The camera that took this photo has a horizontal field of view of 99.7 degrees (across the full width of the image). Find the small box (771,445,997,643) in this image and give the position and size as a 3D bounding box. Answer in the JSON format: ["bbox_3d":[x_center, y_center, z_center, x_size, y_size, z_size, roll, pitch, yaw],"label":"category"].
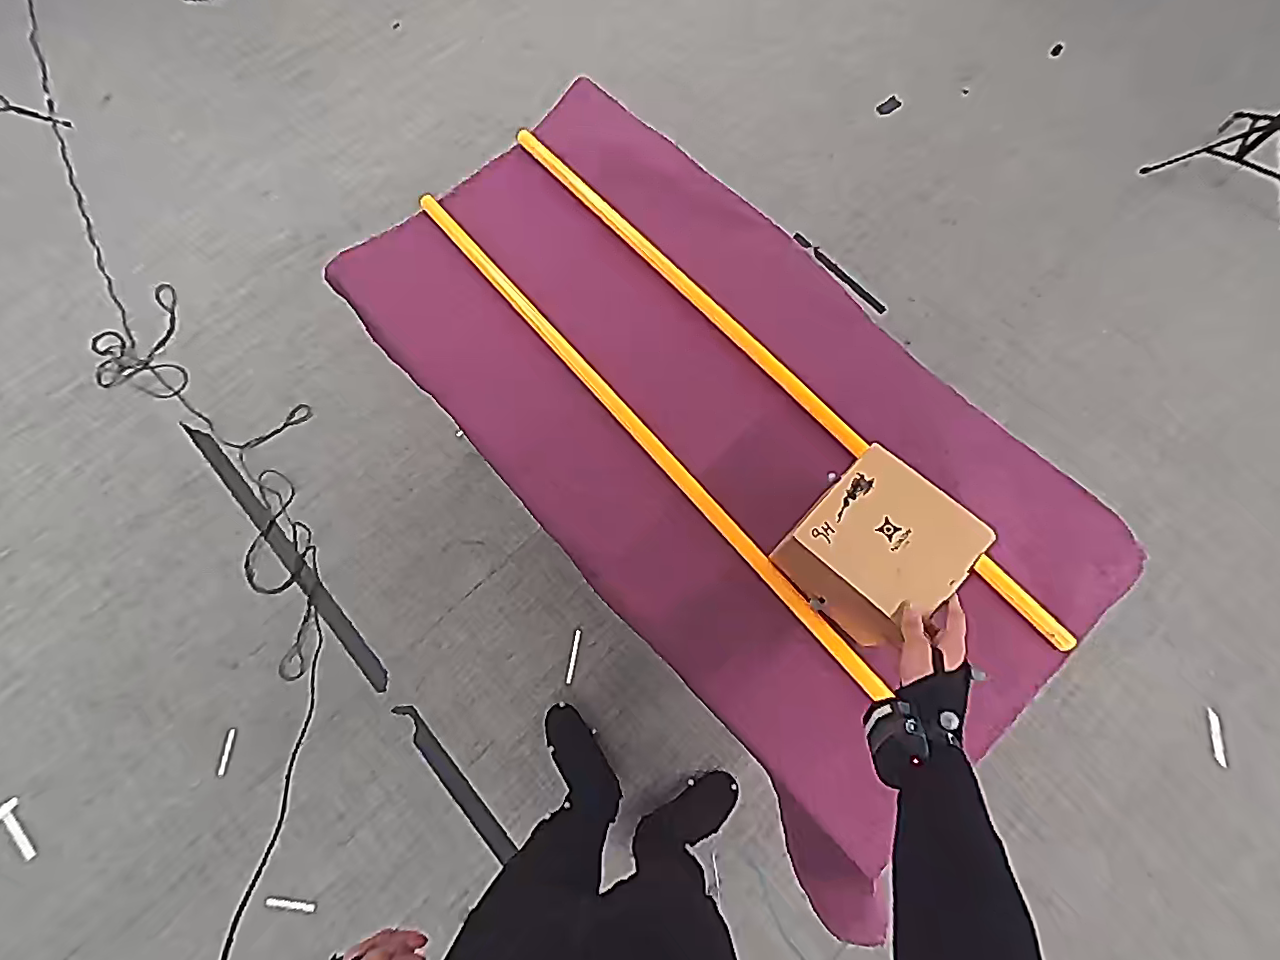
[{"bbox_3d":[0.298,0.090,0.702,0.179,0.176,0.168,43,78,14],"label":"small box"}]
